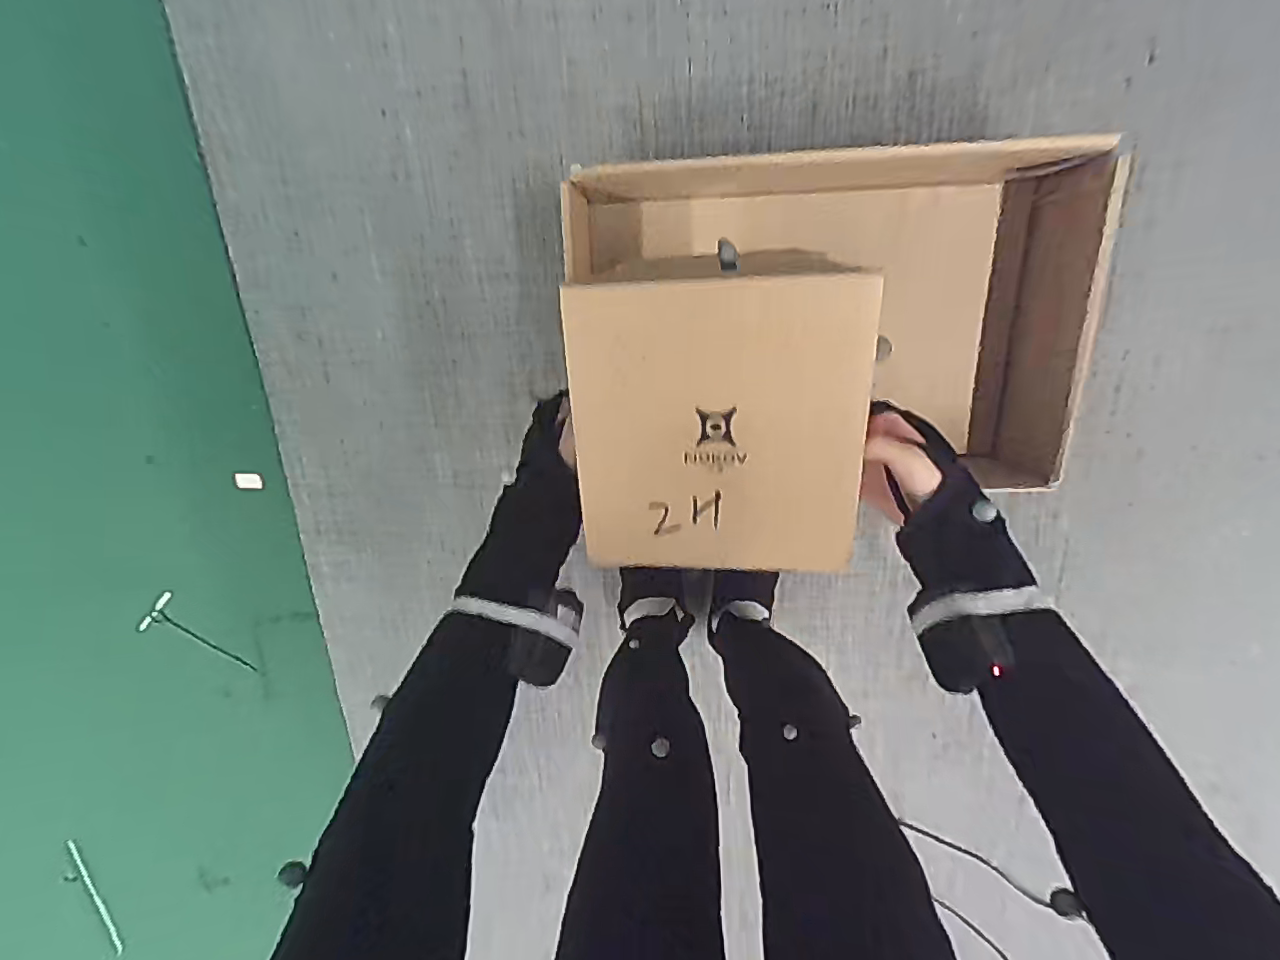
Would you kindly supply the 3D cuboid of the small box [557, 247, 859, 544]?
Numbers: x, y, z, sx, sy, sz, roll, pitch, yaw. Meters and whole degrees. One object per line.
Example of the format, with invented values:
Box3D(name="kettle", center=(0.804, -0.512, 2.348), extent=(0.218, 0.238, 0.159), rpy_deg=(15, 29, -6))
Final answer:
Box3D(name="small box", center=(0.048, -0.073, 0.395), extent=(0.168, 0.176, 0.179), rpy_deg=(2, 115, 10))
